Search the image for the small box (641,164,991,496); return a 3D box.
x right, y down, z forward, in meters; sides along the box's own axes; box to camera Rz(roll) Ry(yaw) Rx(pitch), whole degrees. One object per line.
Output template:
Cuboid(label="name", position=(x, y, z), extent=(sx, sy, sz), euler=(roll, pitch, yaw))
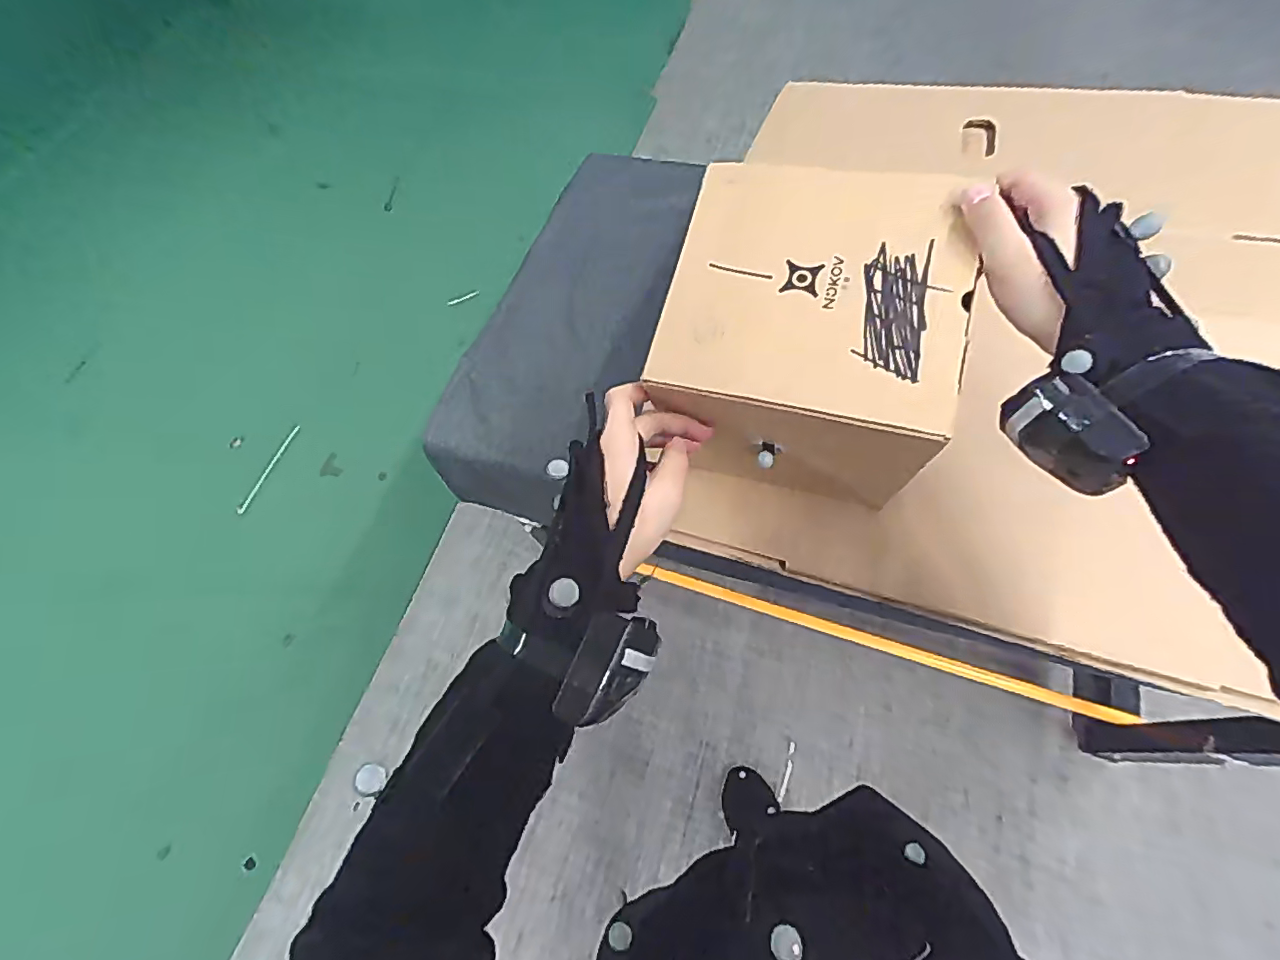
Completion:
Cuboid(label="small box", position=(0.121, -0.096, 0.402), extent=(0.179, 0.176, 0.168), euler=(14, 77, 16))
